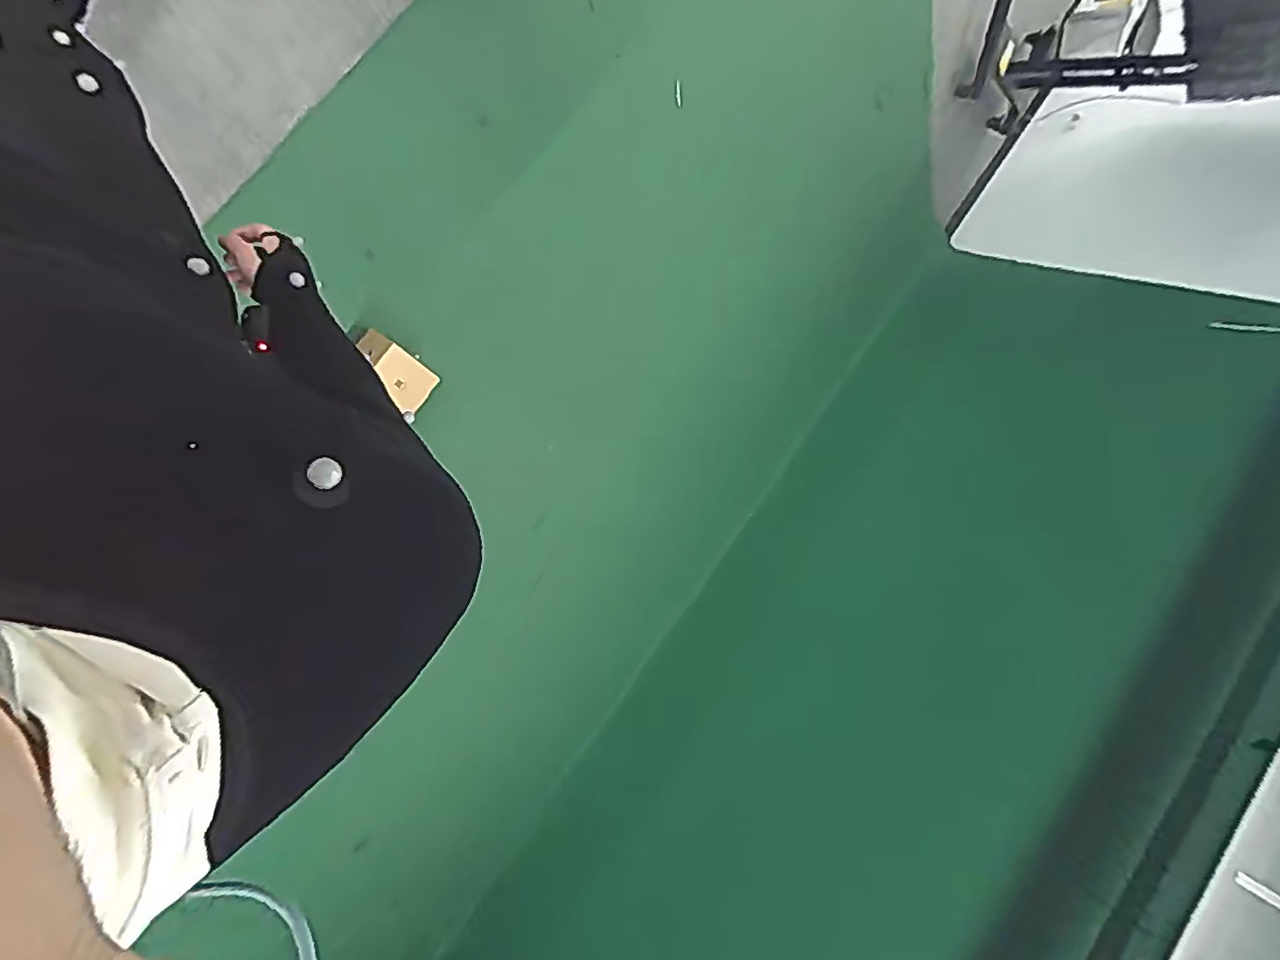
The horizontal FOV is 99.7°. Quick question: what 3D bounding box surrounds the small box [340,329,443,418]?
[{"bbox_3d":[-0.709,-0.308,1.538,0.168,0.176,0.179,-54,144,-6],"label":"small box"}]
